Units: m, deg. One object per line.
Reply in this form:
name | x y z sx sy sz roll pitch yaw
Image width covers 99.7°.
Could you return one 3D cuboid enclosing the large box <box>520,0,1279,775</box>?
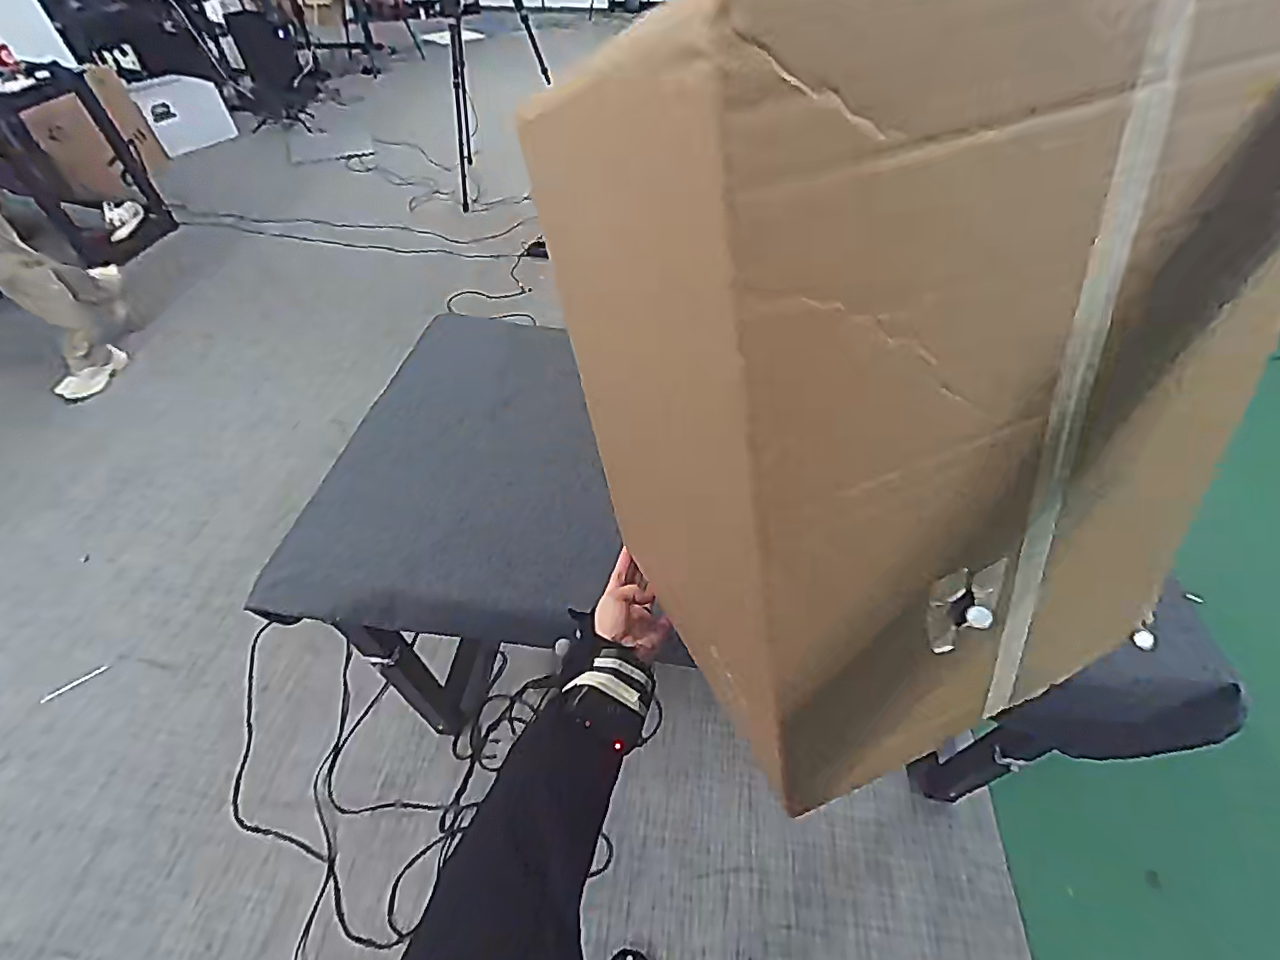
large box | 0.144 -0.082 0.407 0.320 0.408 0.320 -22 35 -12
